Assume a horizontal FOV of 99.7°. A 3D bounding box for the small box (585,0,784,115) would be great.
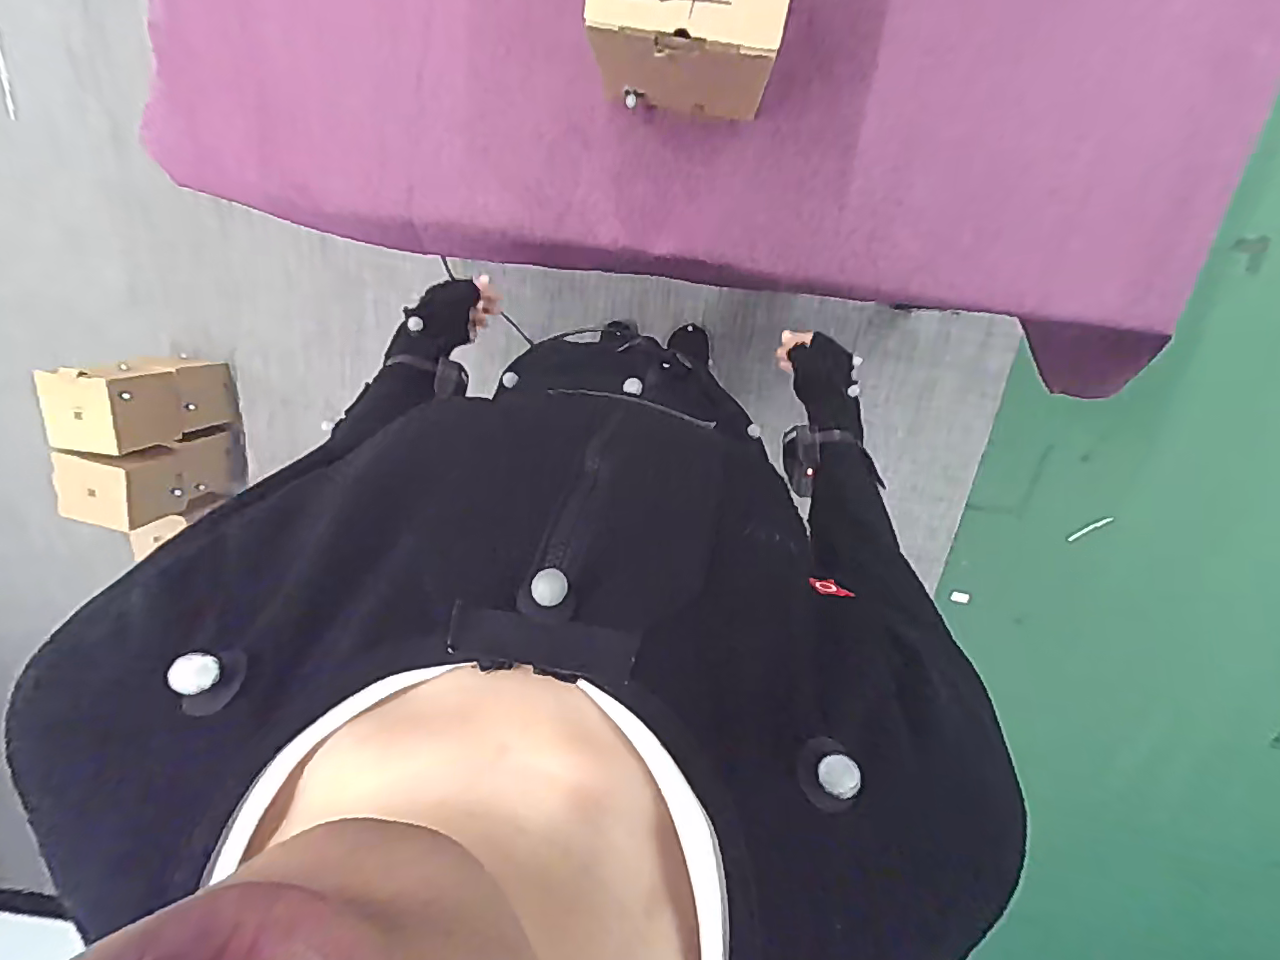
[{"bbox_3d":[0.053,-0.473,0.505,0.168,0.176,0.179,10,107,1],"label":"small box"}]
